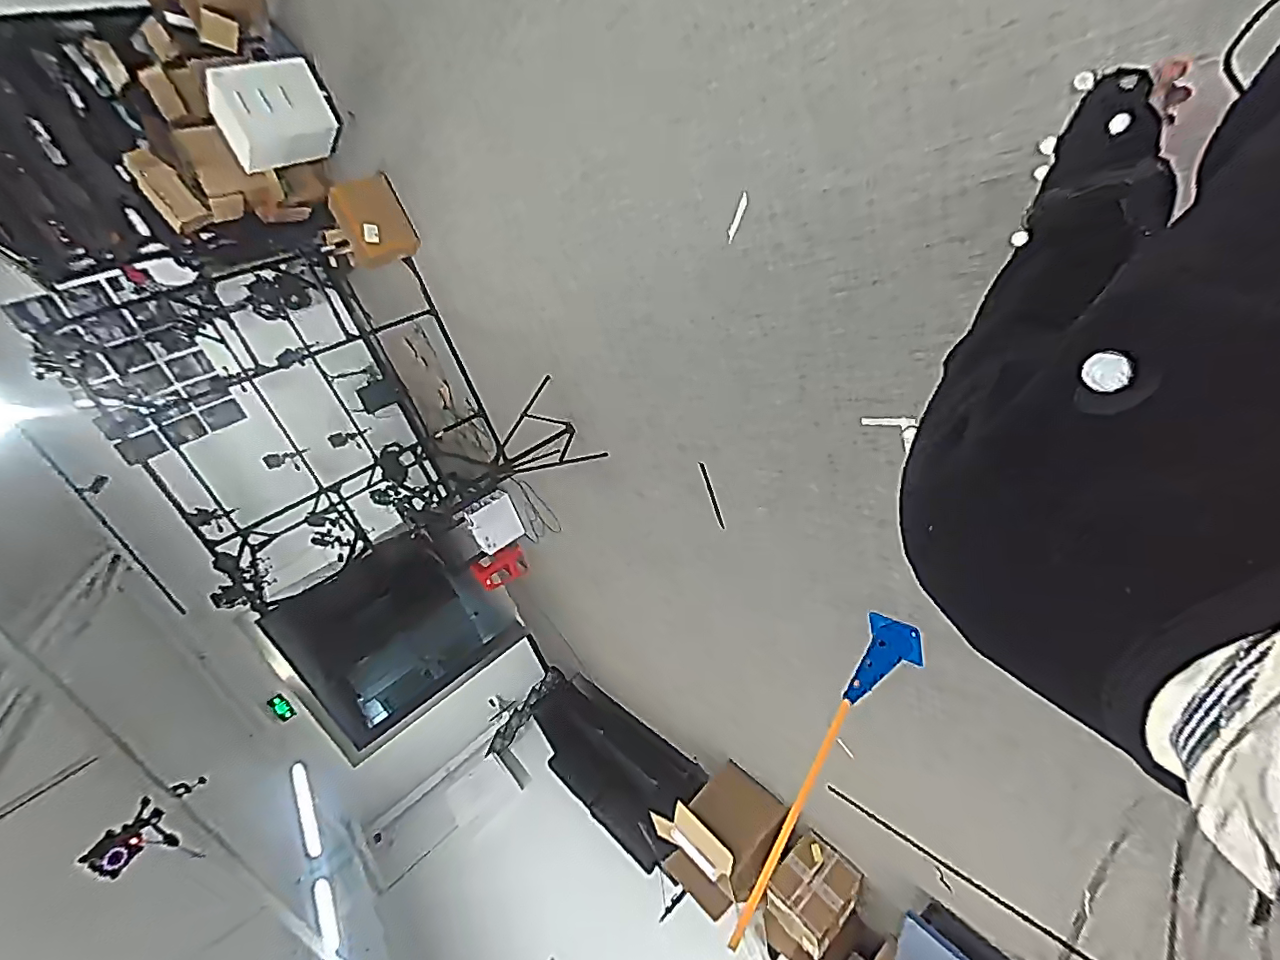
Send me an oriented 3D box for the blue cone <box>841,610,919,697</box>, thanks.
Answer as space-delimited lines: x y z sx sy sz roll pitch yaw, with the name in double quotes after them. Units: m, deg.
0.875 0.685 2.035 0.193 0.380 0.192 17 133 49 "blue cone"
